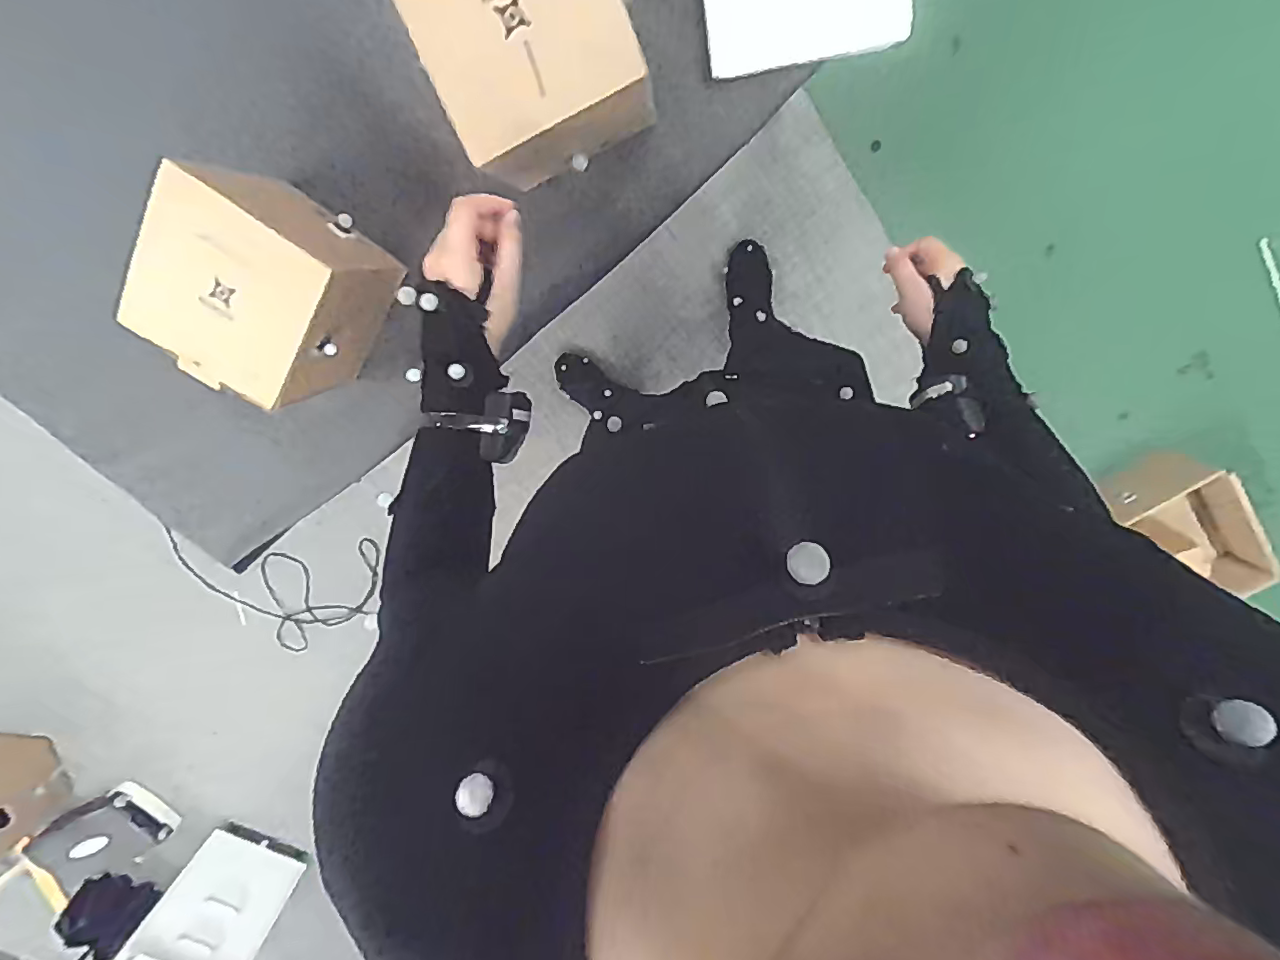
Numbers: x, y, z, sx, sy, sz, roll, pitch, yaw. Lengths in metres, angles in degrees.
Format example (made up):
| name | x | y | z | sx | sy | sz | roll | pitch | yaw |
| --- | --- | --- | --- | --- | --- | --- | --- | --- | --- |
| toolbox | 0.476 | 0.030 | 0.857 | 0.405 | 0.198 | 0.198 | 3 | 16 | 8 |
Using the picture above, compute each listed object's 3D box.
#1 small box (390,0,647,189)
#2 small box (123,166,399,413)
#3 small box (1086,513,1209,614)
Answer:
| name | x | y | z | sx | sy | sz | roll | pitch | yaw |
| --- | --- | --- | --- | --- | --- | --- | --- | --- | --- |
| small box | -0.102 | -0.400 | 0.502 | 0.168 | 0.176 | 0.179 | -21 | 110 | 12 |
| small box | -0.403 | -0.207 | 0.605 | 0.168 | 0.176 | 0.179 | 33 | 110 | -11 |
| small box | 1.330 | 0.217 | 1.432 | 0.179 | 0.176 | 0.168 | -25 | 111 | 14 |
